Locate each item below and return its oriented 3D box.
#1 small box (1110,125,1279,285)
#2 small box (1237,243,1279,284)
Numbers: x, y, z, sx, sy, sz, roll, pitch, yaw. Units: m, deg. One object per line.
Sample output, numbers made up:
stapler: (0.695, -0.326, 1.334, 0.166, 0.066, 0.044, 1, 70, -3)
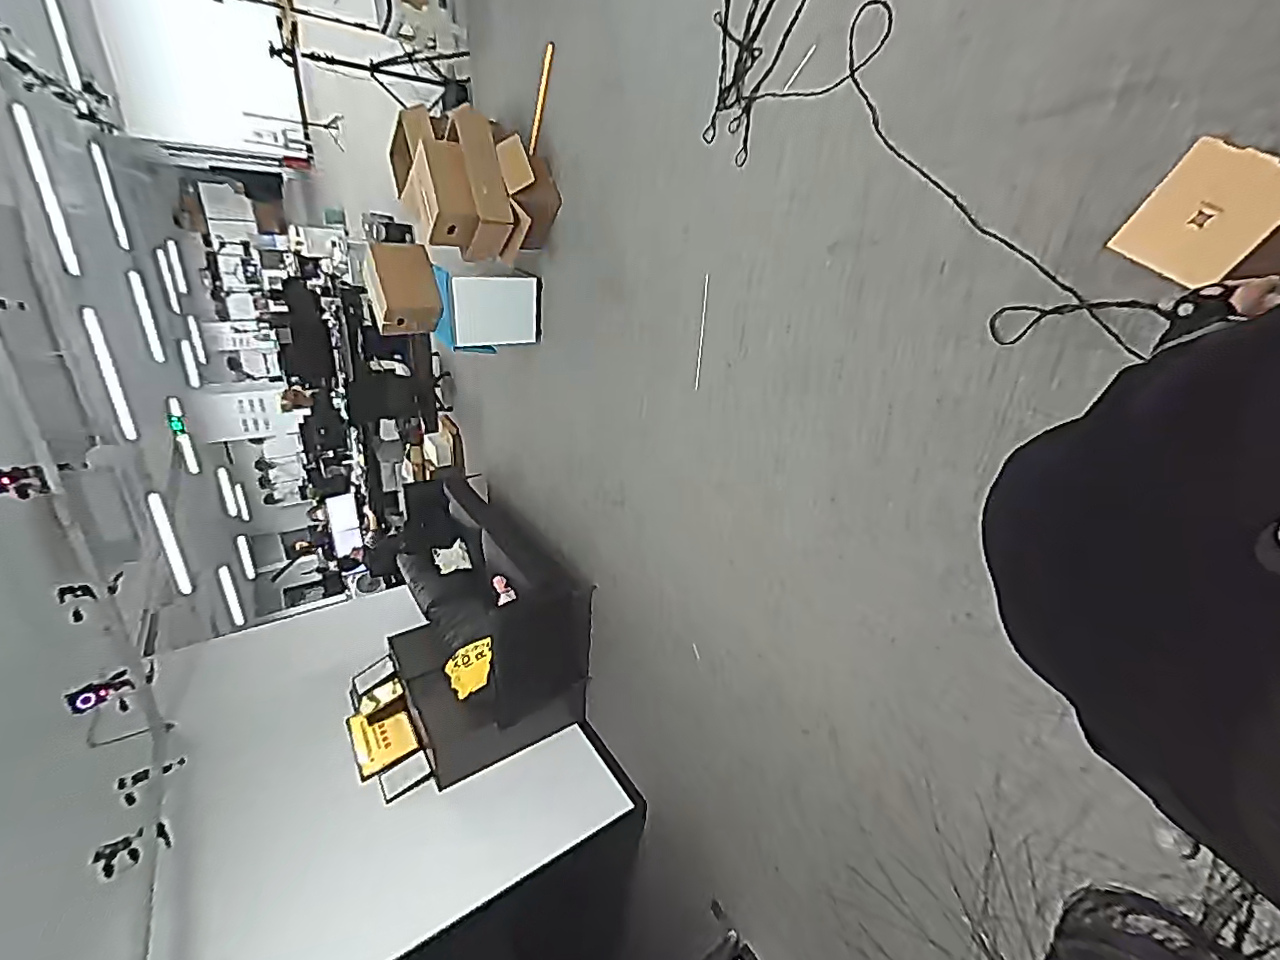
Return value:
small box: (0.929, -0.430, 0.864, 0.168, 0.176, 0.179, 55, 141, 32)
small box: (1.067, -0.460, 0.944, 0.168, 0.176, 0.179, 50, 140, 36)
